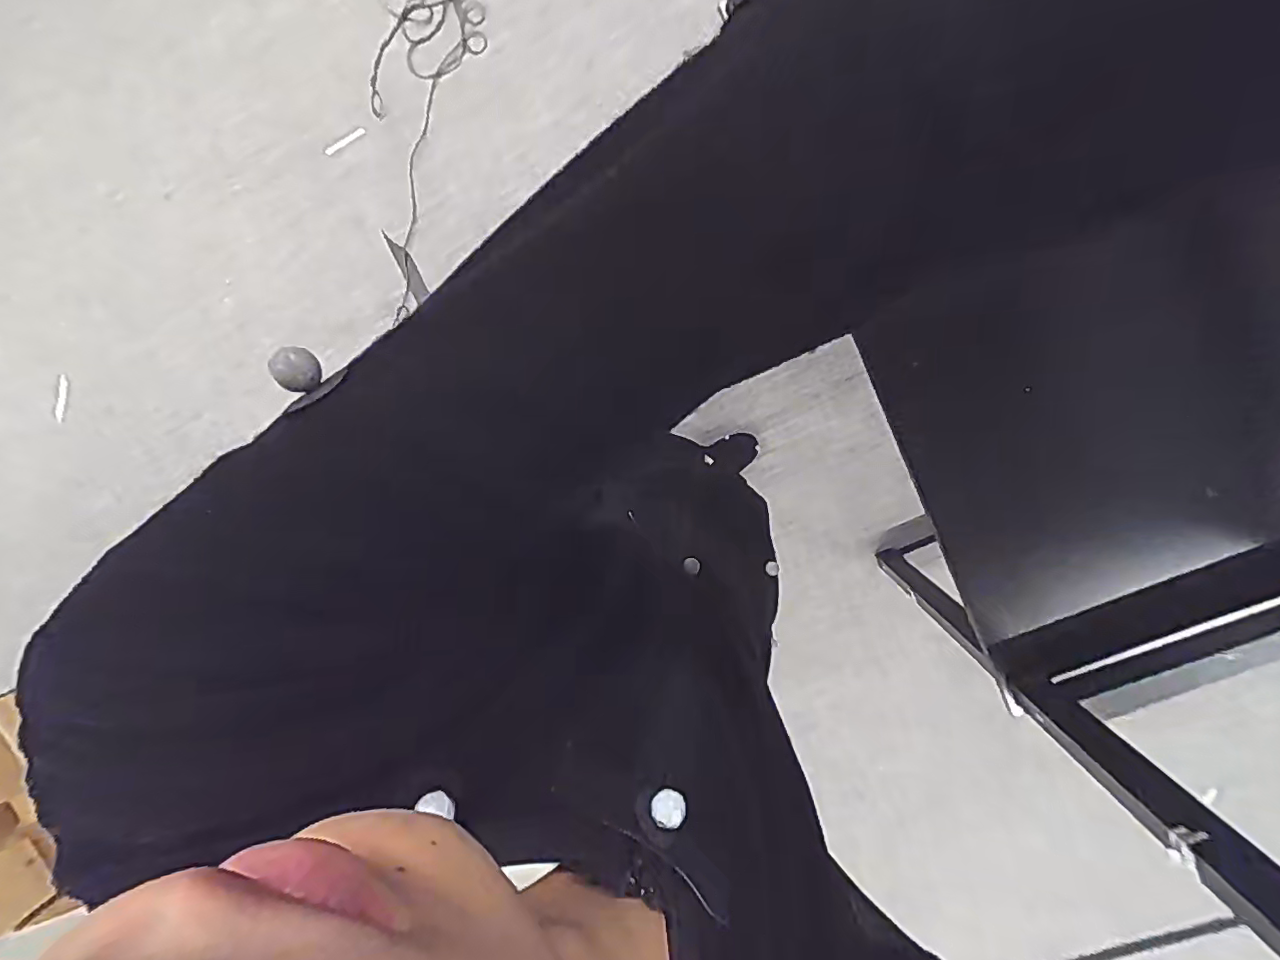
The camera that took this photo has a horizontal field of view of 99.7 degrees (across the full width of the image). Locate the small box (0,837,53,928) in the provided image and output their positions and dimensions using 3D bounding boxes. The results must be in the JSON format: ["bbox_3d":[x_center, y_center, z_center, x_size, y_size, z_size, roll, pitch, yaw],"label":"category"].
[{"bbox_3d":[-1.620,1.021,1.319,0.179,0.176,0.168,-24,97,11],"label":"small box"}]
